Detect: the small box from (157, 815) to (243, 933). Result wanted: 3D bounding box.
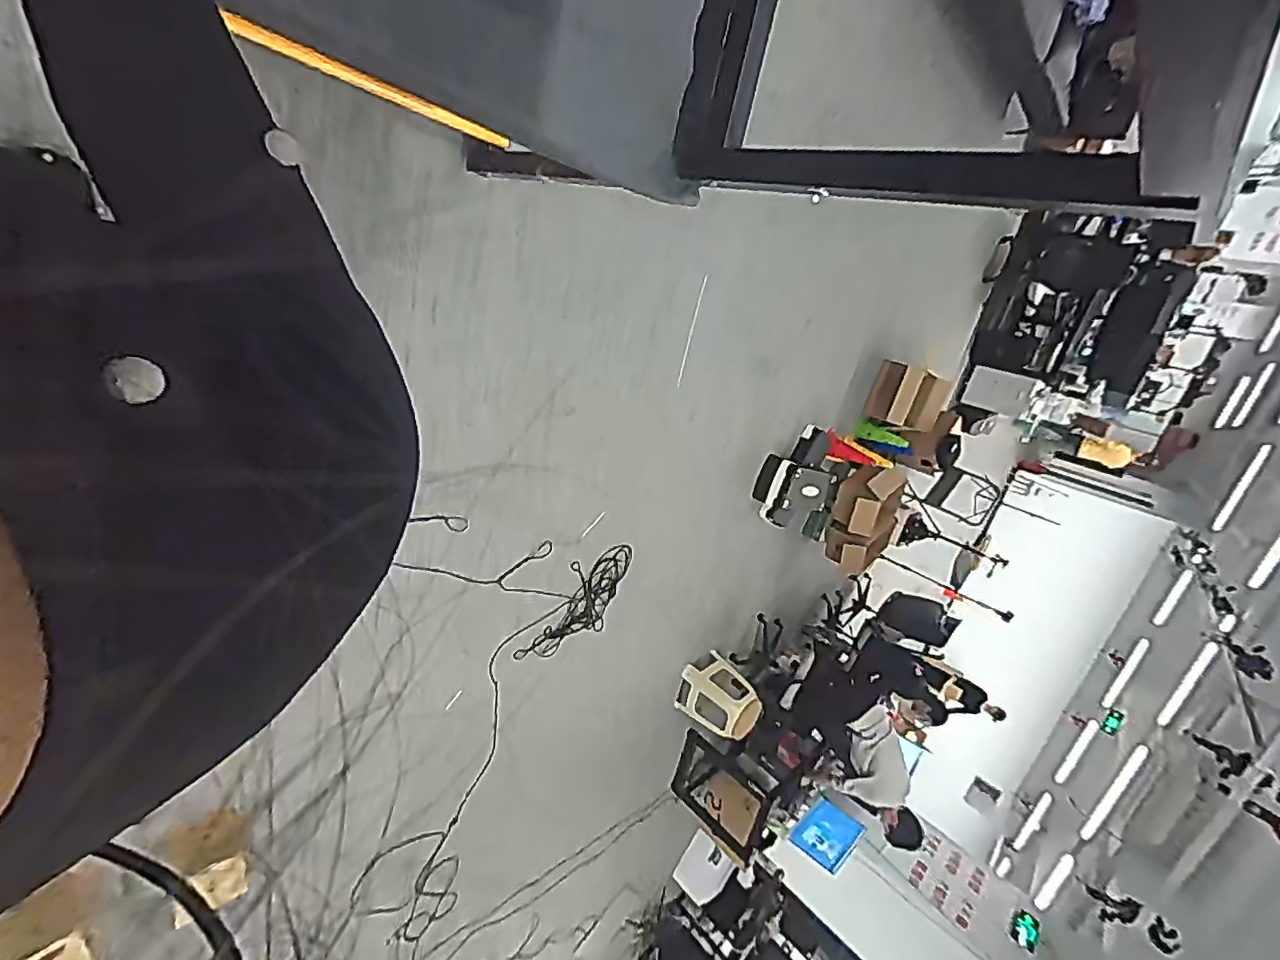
[{"bbox_3d":[-1.255,1.115,1.545,0.168,0.176,0.179,-10,119,-46],"label":"small box"}]

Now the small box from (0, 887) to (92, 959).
[{"bbox_3d":[-1.473,1.146,1.316,0.168,0.176,0.179,-14,123,-43],"label":"small box"}]
